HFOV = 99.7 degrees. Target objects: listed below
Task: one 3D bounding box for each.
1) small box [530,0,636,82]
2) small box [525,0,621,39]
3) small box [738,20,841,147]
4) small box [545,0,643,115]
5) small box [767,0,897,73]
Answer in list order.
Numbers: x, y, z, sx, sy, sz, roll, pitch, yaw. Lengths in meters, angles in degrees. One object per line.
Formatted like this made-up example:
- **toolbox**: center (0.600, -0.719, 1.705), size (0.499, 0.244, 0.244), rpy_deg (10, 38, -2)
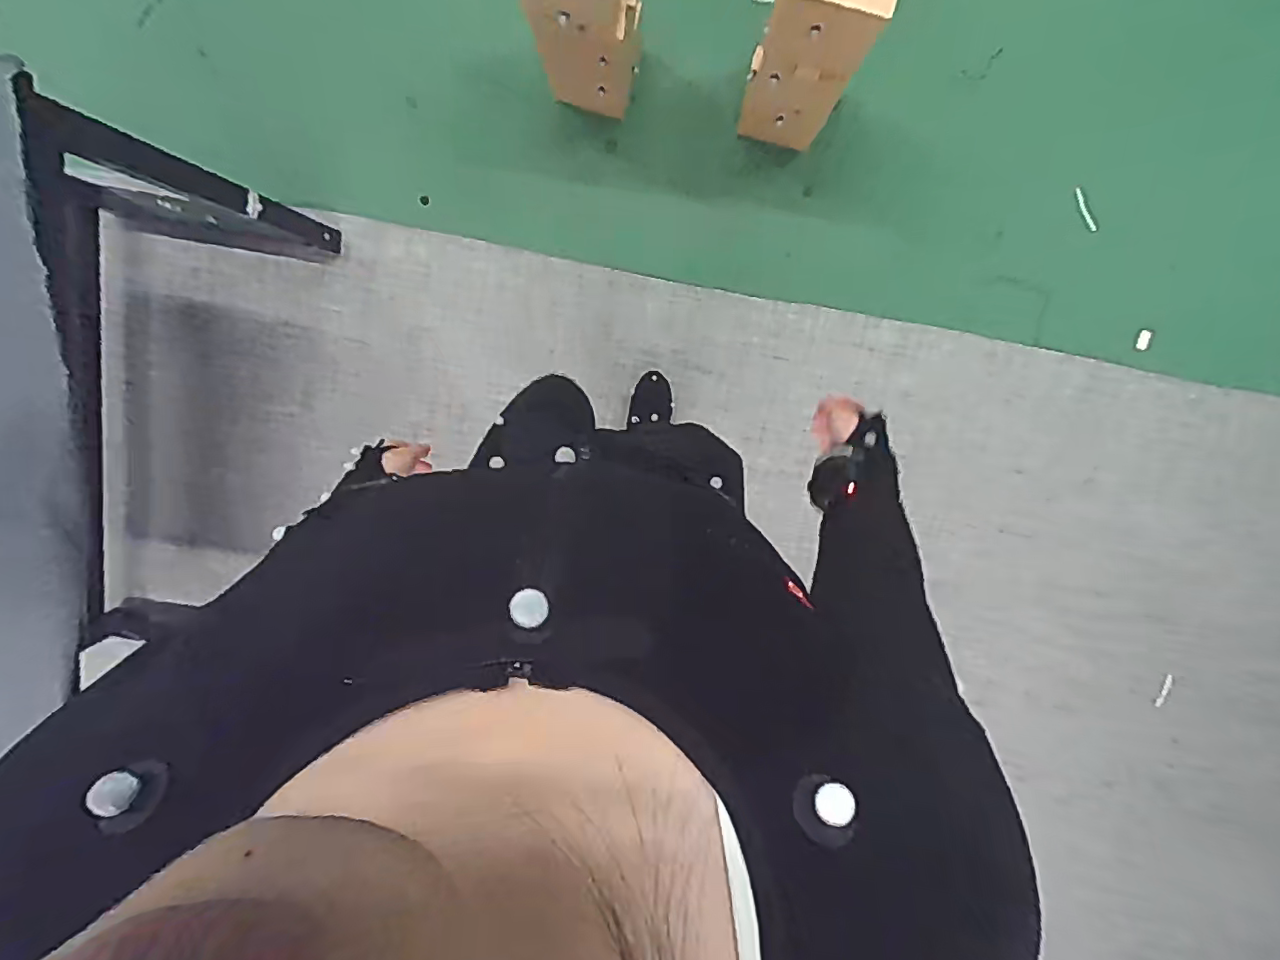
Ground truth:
- **small box**: center (-0.103, -0.912, 1.048), size (0.179, 0.176, 0.168), rpy_deg (8, 101, -1)
- **small box**: center (-0.109, -0.884, 0.885), size (0.168, 0.176, 0.179), rpy_deg (11, 101, -2)
- **small box**: center (0.337, -0.884, 1.221), size (0.179, 0.176, 0.168), rpy_deg (14, 101, -3)
- **small box**: center (-0.099, -0.954, 1.205), size (0.179, 0.176, 0.168), rpy_deg (16, 101, -3)
- **small box**: center (0.326, -0.823, 0.899), size (0.179, 0.176, 0.168), rpy_deg (13, 101, -2)
